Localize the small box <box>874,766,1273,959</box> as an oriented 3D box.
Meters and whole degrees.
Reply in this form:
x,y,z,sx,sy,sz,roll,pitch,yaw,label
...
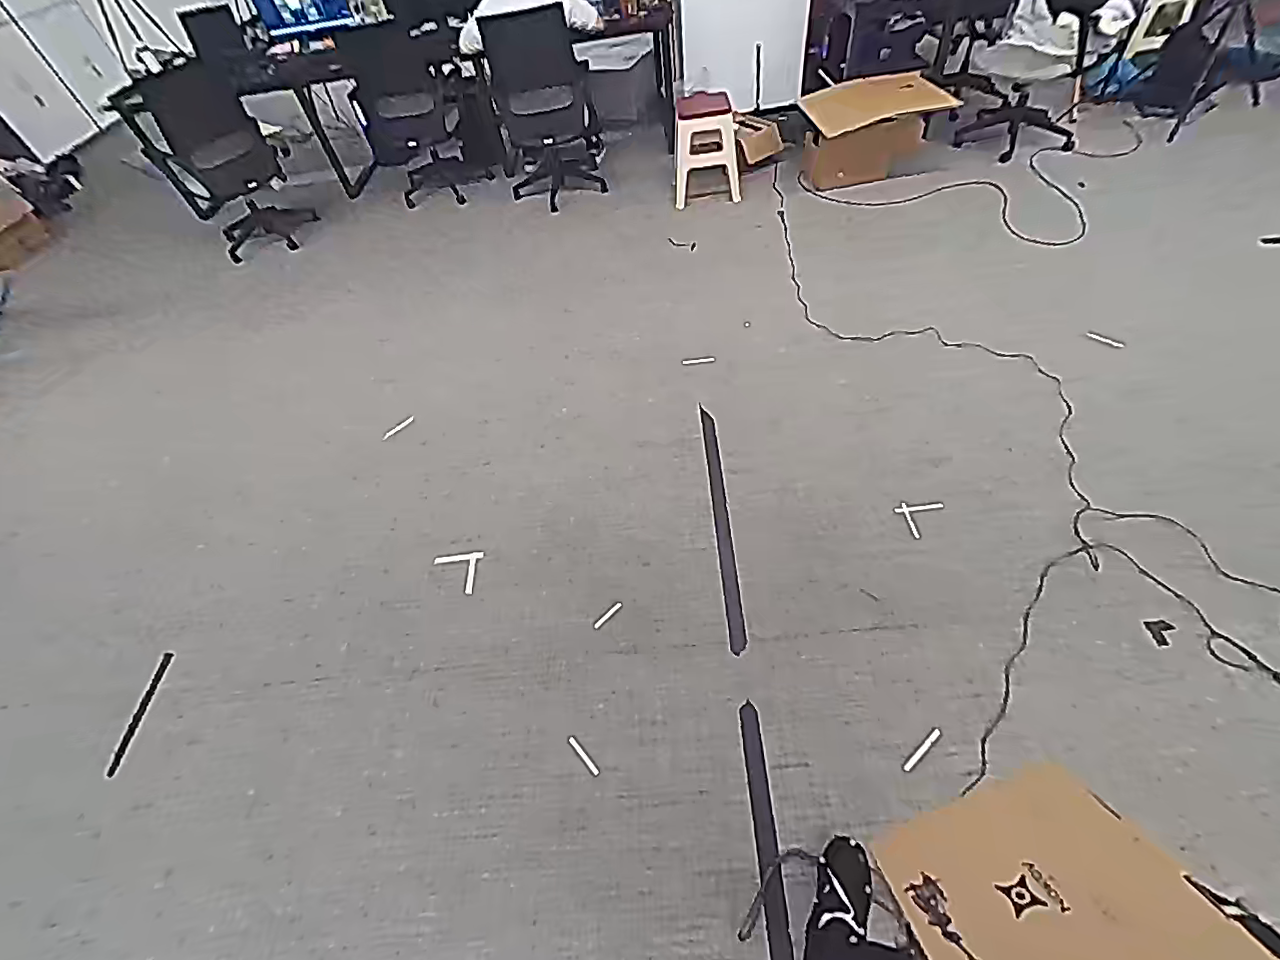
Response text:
x,y,z,sx,sy,sz,roll,pitch,yaw,label
0.315,0.366,0.403,0.179,0.176,0.168,-25,12,2,small box
